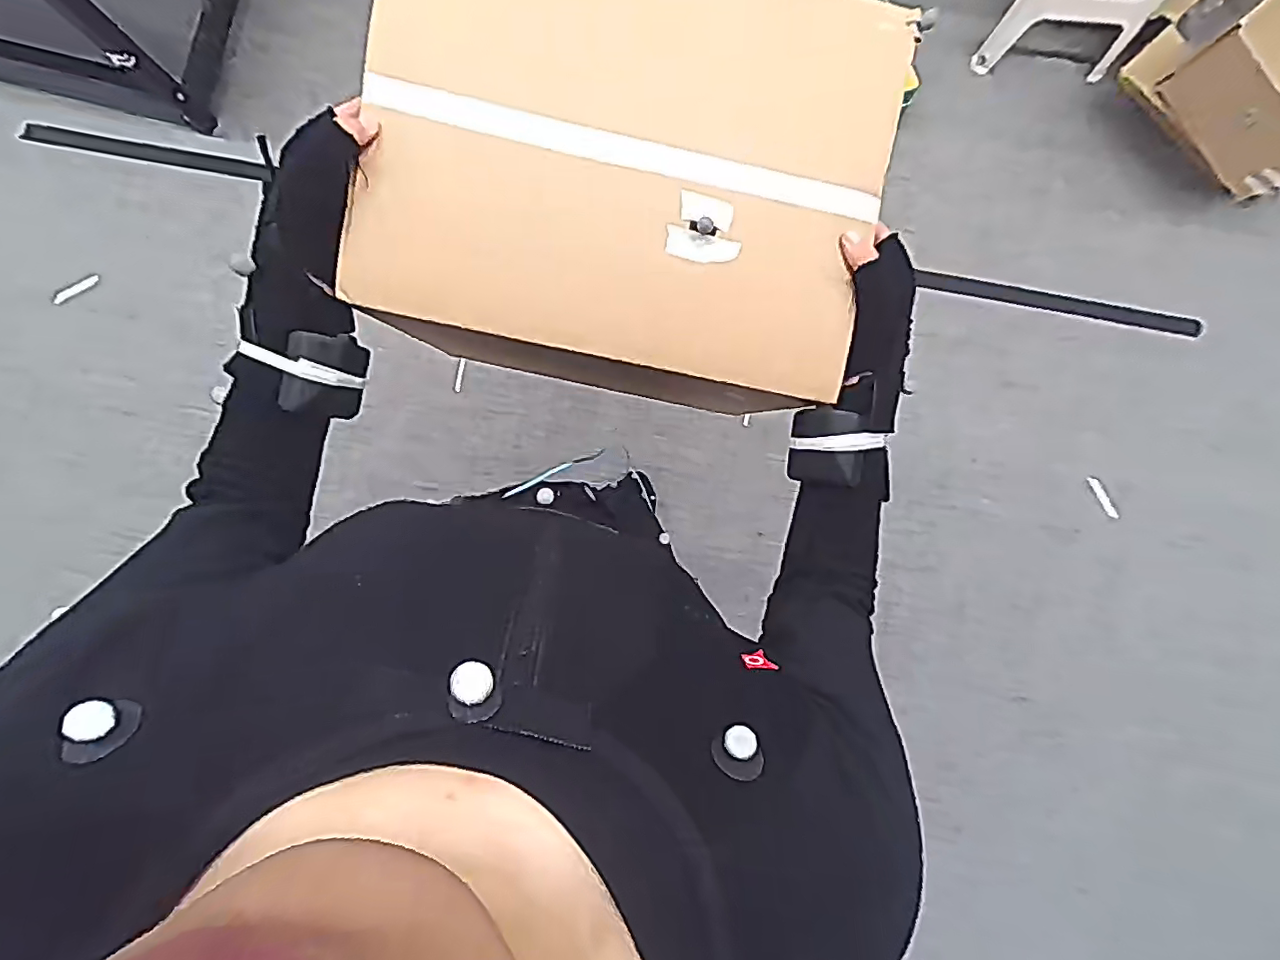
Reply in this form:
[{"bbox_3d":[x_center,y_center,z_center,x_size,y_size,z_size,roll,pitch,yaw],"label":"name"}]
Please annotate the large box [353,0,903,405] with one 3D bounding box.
[{"bbox_3d":[-0.020,-0.271,0.577,0.408,0.320,0.320,11,96,-6],"label":"large box"}]
